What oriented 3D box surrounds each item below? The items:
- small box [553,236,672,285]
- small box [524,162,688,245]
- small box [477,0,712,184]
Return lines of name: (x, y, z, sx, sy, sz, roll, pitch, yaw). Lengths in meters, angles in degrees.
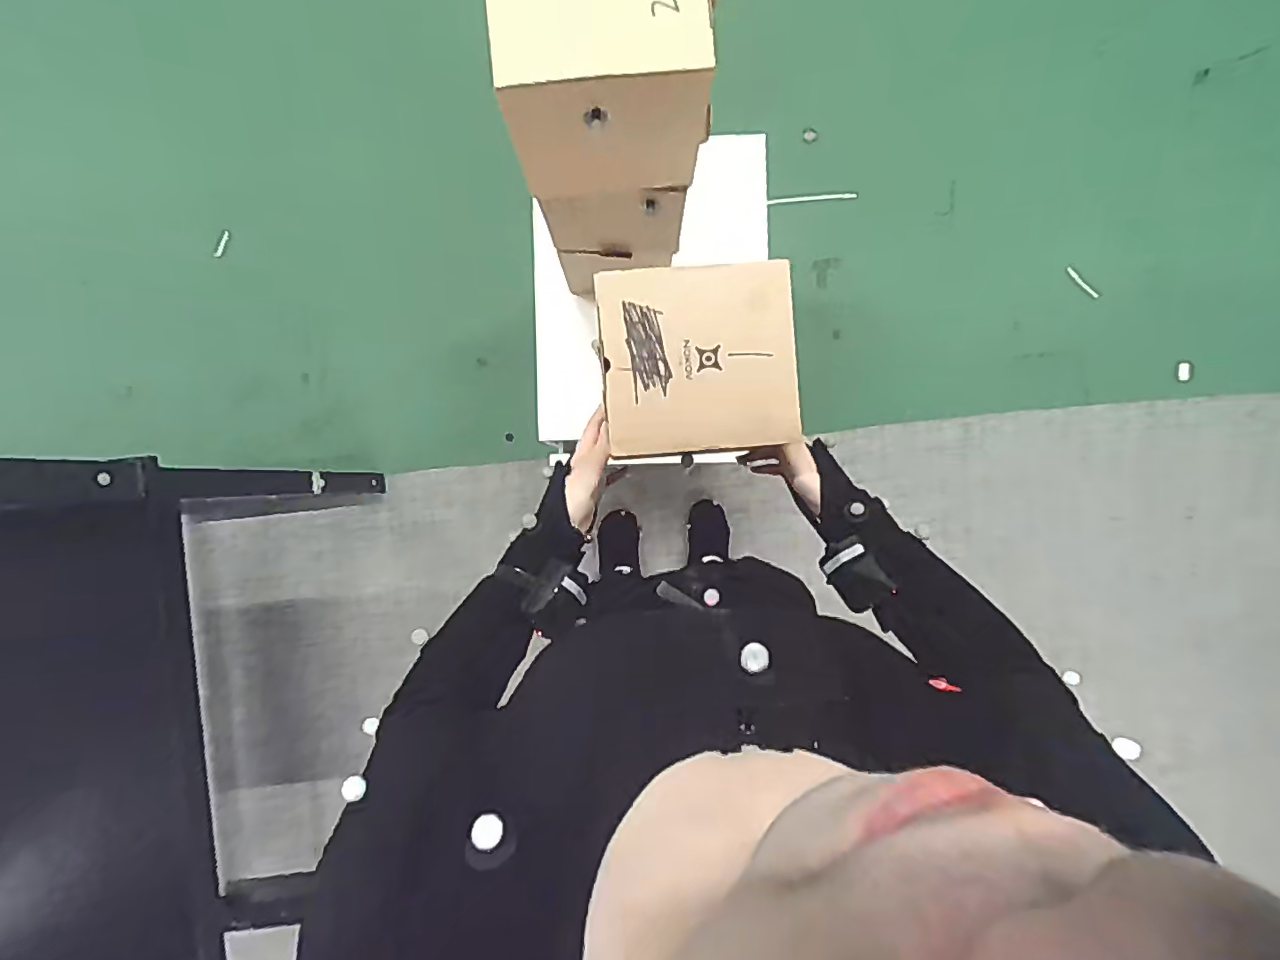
small box: (-0.036, -0.403, 0.812, 0.168, 0.176, 0.179, -1, 91, 0)
small box: (-0.033, -0.399, 0.650, 0.179, 0.176, 0.168, 2, 90, -1)
small box: (-0.038, -0.392, 0.485, 0.179, 0.176, 0.168, -6, 91, -1)
